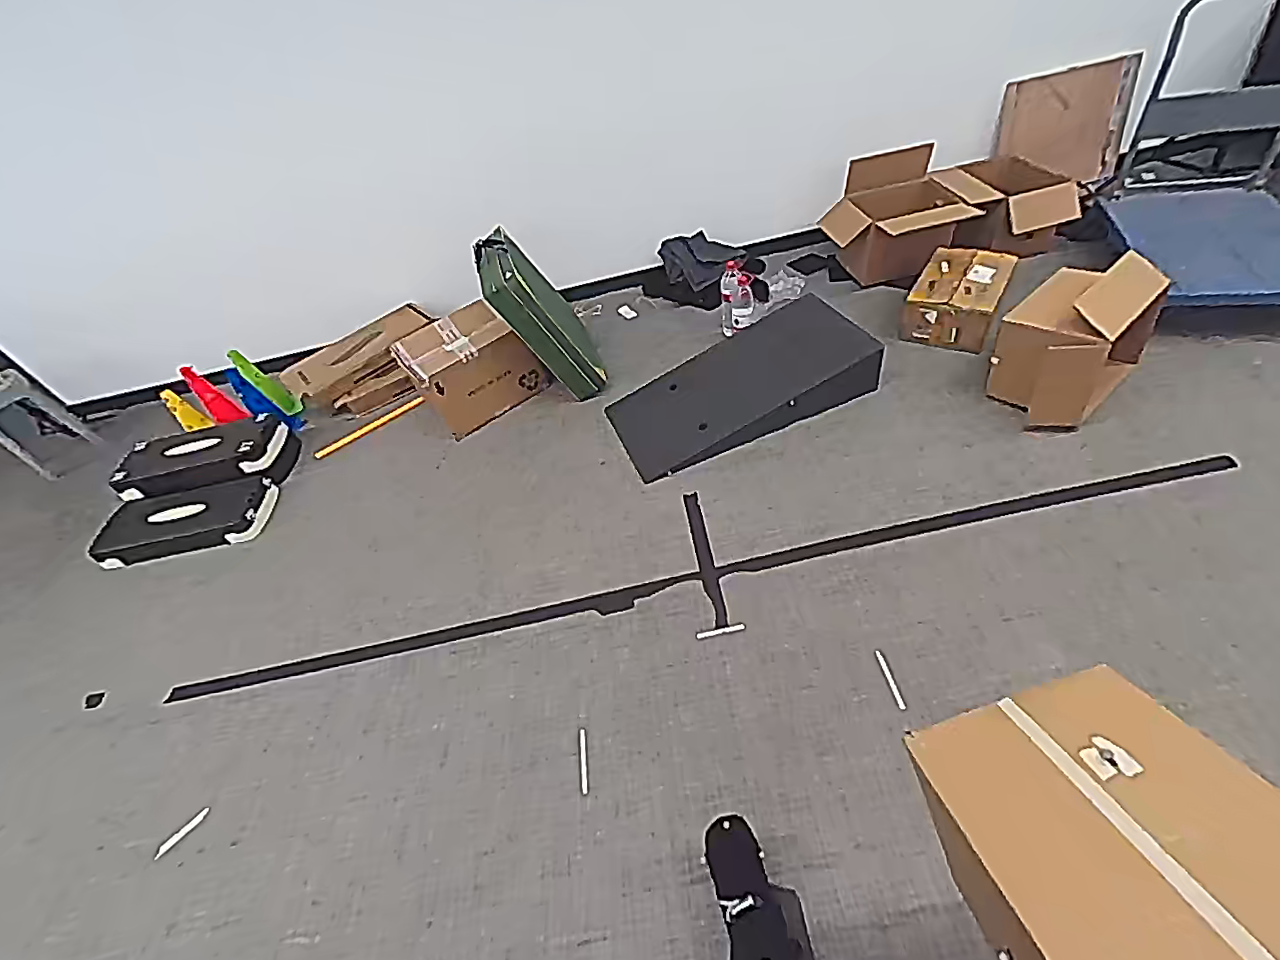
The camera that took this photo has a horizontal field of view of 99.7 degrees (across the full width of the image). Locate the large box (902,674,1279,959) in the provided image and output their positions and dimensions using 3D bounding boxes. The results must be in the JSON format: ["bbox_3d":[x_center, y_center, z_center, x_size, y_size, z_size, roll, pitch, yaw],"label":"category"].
[{"bbox_3d":[0.609,0.532,0.670,0.320,0.320,0.408,-22,15,4],"label":"large box"}]
